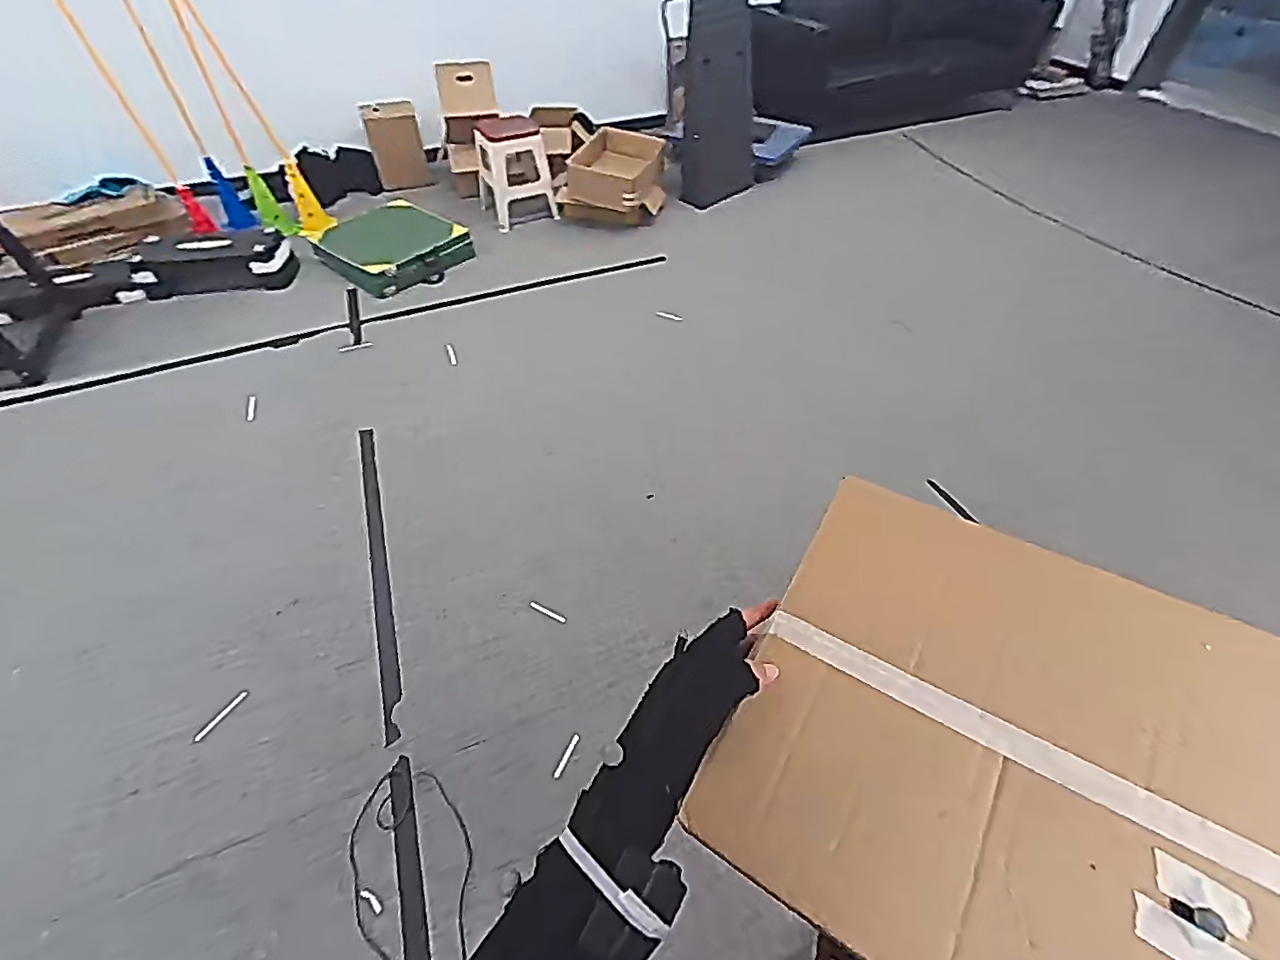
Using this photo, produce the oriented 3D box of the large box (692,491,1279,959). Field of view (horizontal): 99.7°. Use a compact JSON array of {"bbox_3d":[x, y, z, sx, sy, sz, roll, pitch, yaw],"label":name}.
[{"bbox_3d":[0.296,0.274,0.482,0.408,0.320,0.320,24,63,24],"label":"large box"}]
